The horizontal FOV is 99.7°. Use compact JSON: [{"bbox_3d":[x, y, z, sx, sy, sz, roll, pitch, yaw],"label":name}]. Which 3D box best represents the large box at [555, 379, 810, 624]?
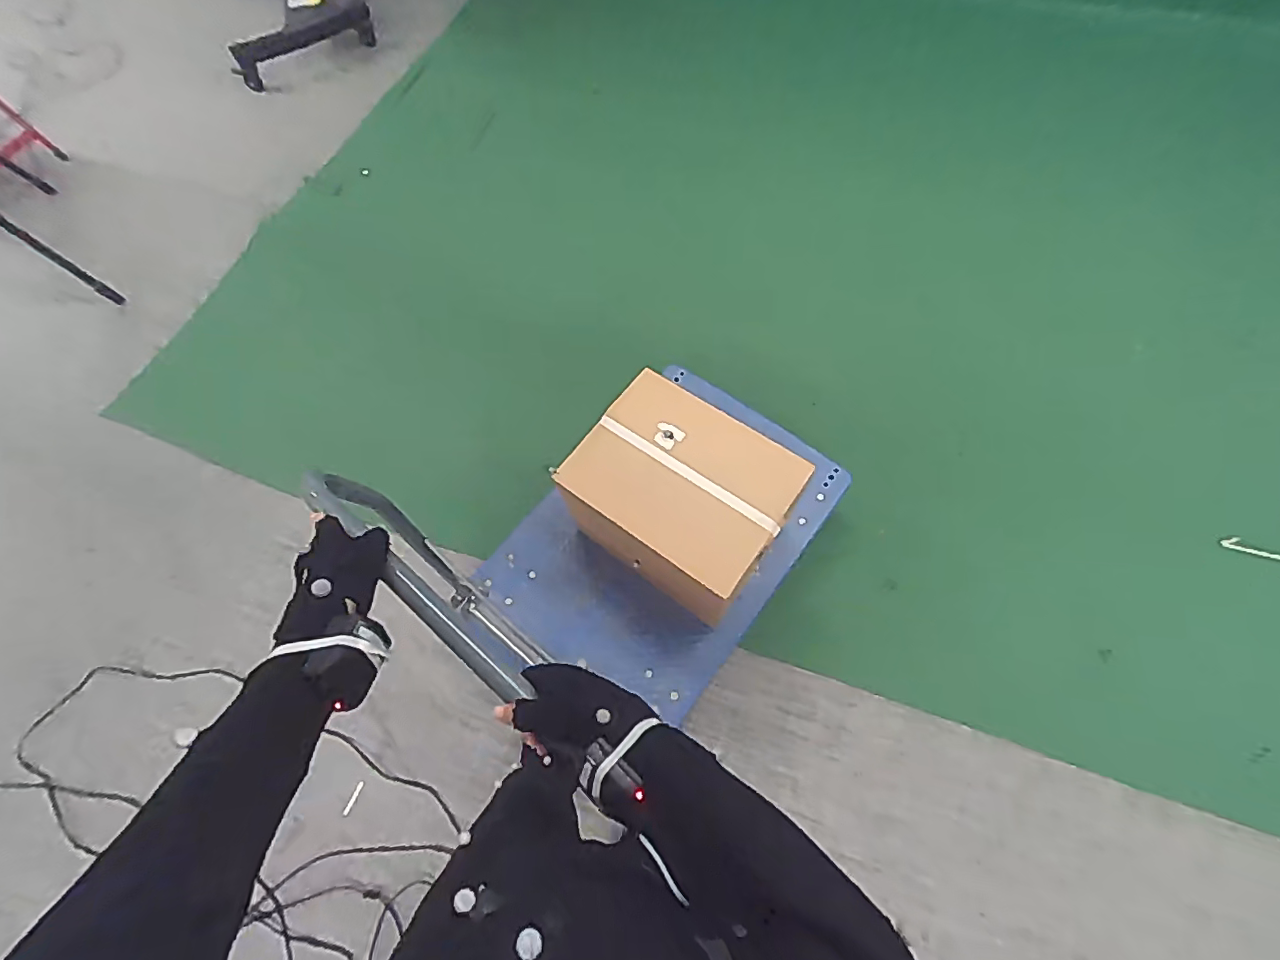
[{"bbox_3d":[0.093,0.058,1.180,0.408,0.320,0.320,33,71,18],"label":"large box"}]
